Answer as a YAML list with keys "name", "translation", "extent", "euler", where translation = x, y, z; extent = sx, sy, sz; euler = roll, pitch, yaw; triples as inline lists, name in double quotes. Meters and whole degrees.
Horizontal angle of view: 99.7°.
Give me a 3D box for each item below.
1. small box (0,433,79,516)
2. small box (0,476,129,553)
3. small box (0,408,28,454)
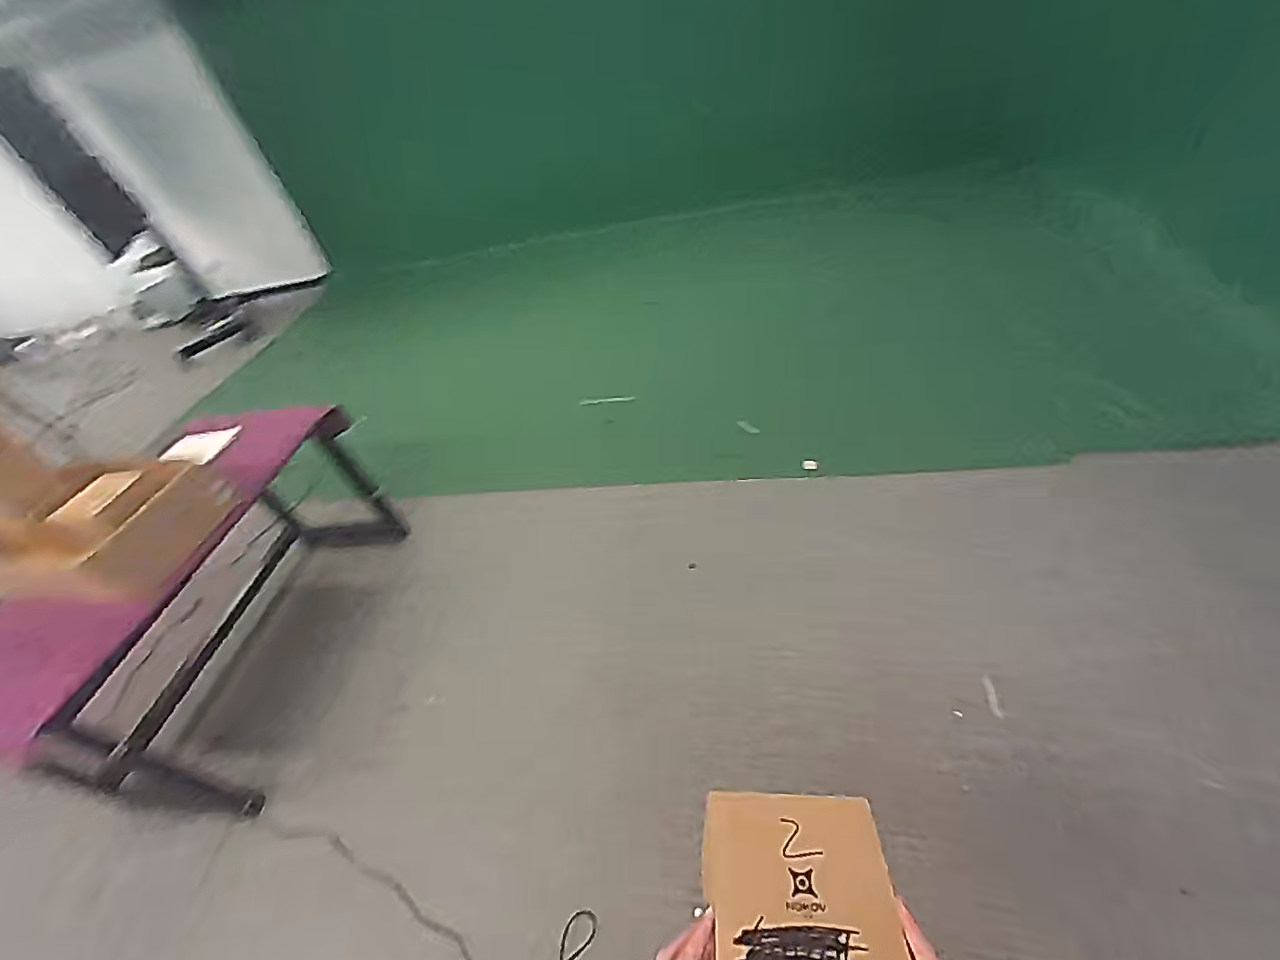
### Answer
- name: "small box"
  translation: [-1.755, -0.011, 1.506]
  extent: [0.179, 0.176, 0.168]
  euler: [-3, 43, 14]
- name: "small box"
  translation: [-1.715, 0.105, 1.615]
  extent: [0.179, 0.176, 0.168]
  euler: [-2, 44, 14]
- name: "small box"
  translation: [-1.786, -0.129, 1.398]
  extent: [0.179, 0.176, 0.168]
  euler: [-2, 44, 13]
